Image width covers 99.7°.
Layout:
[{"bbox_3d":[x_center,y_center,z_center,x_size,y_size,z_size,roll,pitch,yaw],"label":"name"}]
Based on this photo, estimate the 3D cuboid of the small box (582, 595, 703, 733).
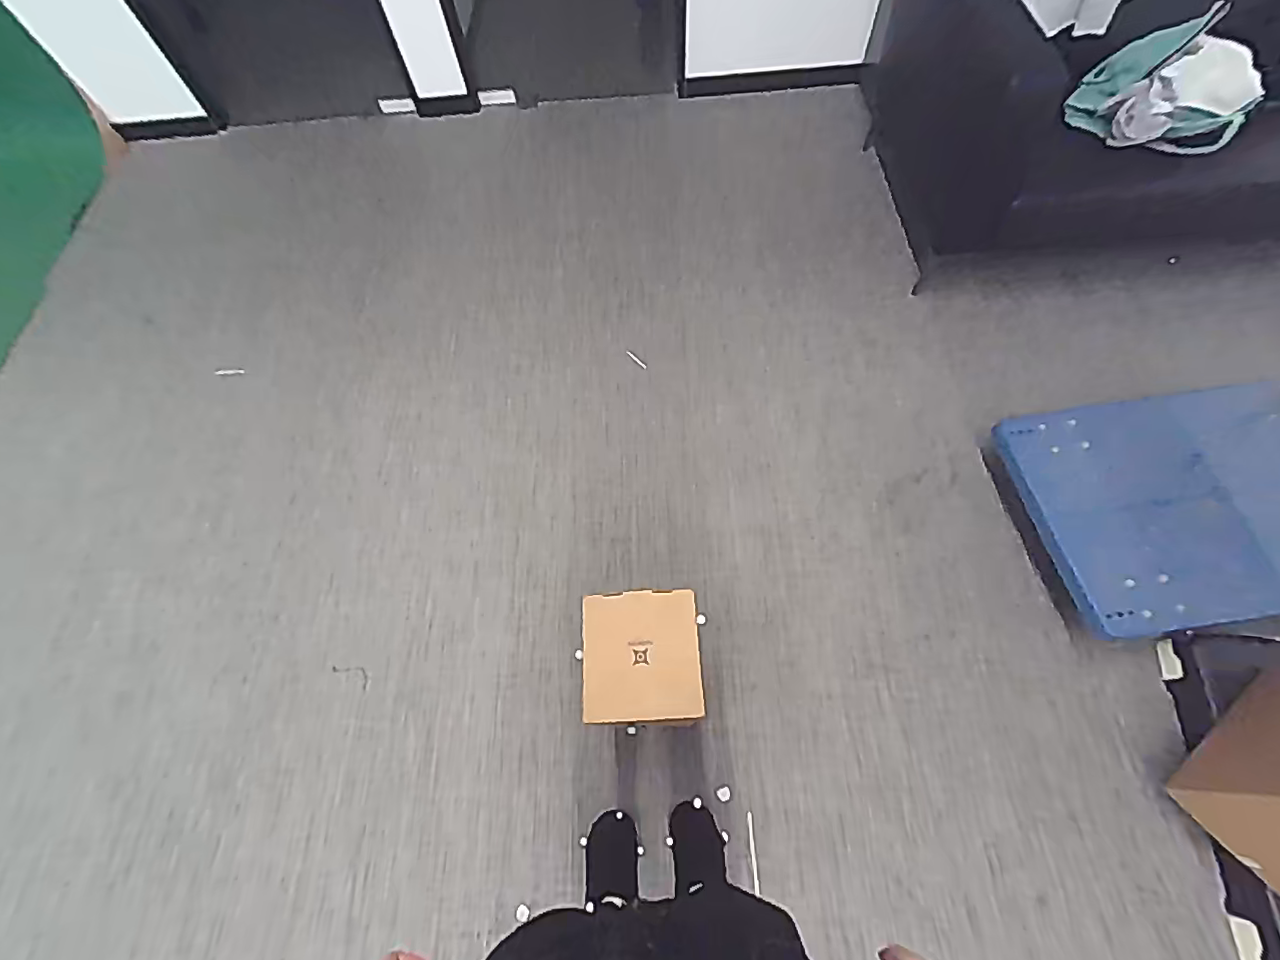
[{"bbox_3d":[0.005,0.284,0.822,0.168,0.176,0.179,-4,64,1],"label":"small box"}]
